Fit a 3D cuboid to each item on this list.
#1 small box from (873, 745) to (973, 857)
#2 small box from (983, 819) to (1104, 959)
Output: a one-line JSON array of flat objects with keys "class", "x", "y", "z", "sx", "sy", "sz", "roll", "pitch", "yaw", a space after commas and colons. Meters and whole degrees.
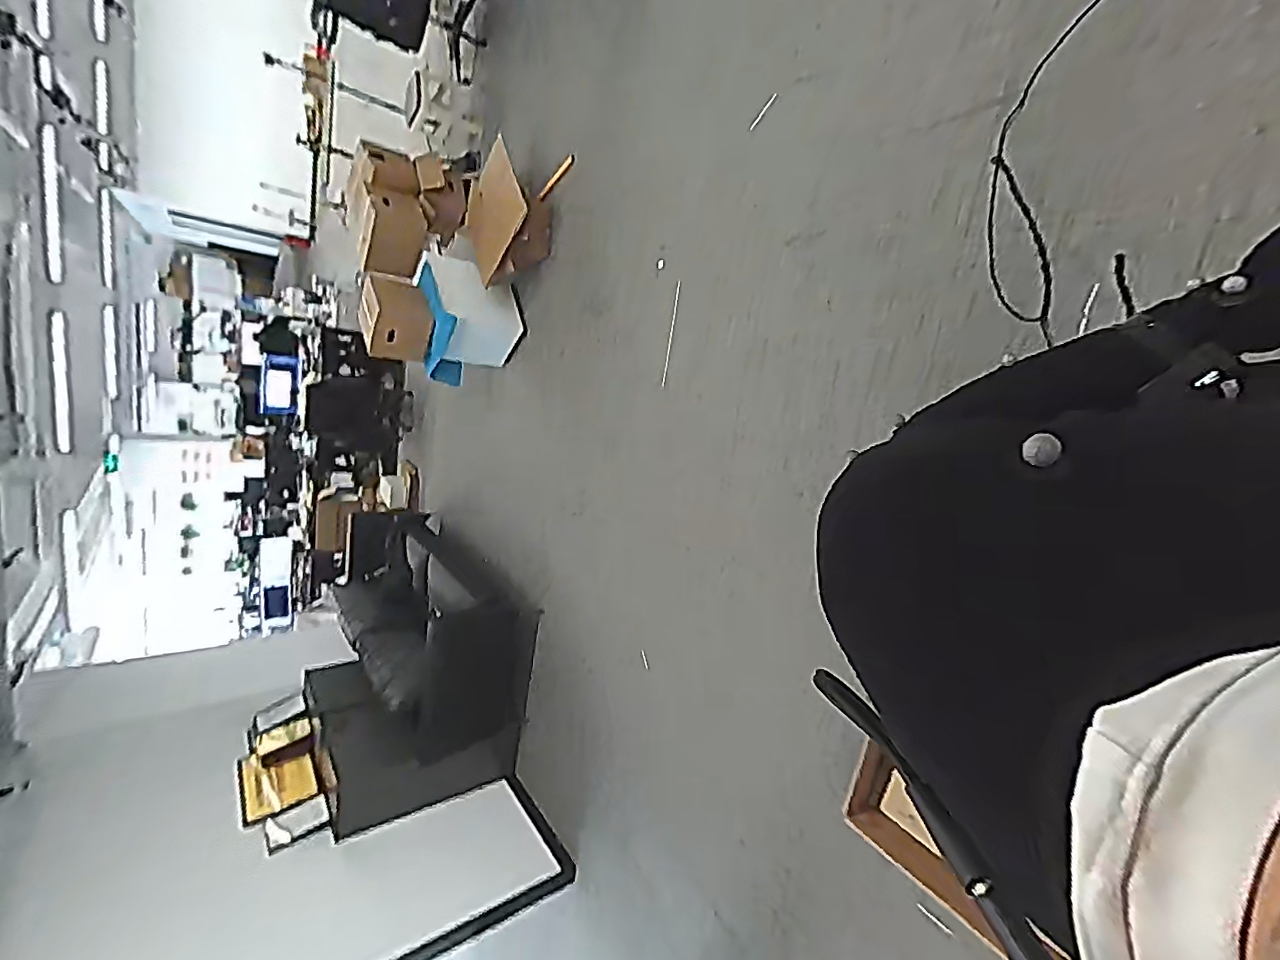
[{"class": "small box", "x": 0.776, "y": 0.861, "z": 1.473, "sx": 0.168, "sy": 0.176, "sz": 0.179, "roll": 28, "pitch": 111, "yaw": 47}, {"class": "small box", "x": 0.947, "y": 0.944, "z": 1.264, "sx": 0.168, "sy": 0.176, "sz": 0.179, "roll": 27, "pitch": 111, "yaw": 48}]
